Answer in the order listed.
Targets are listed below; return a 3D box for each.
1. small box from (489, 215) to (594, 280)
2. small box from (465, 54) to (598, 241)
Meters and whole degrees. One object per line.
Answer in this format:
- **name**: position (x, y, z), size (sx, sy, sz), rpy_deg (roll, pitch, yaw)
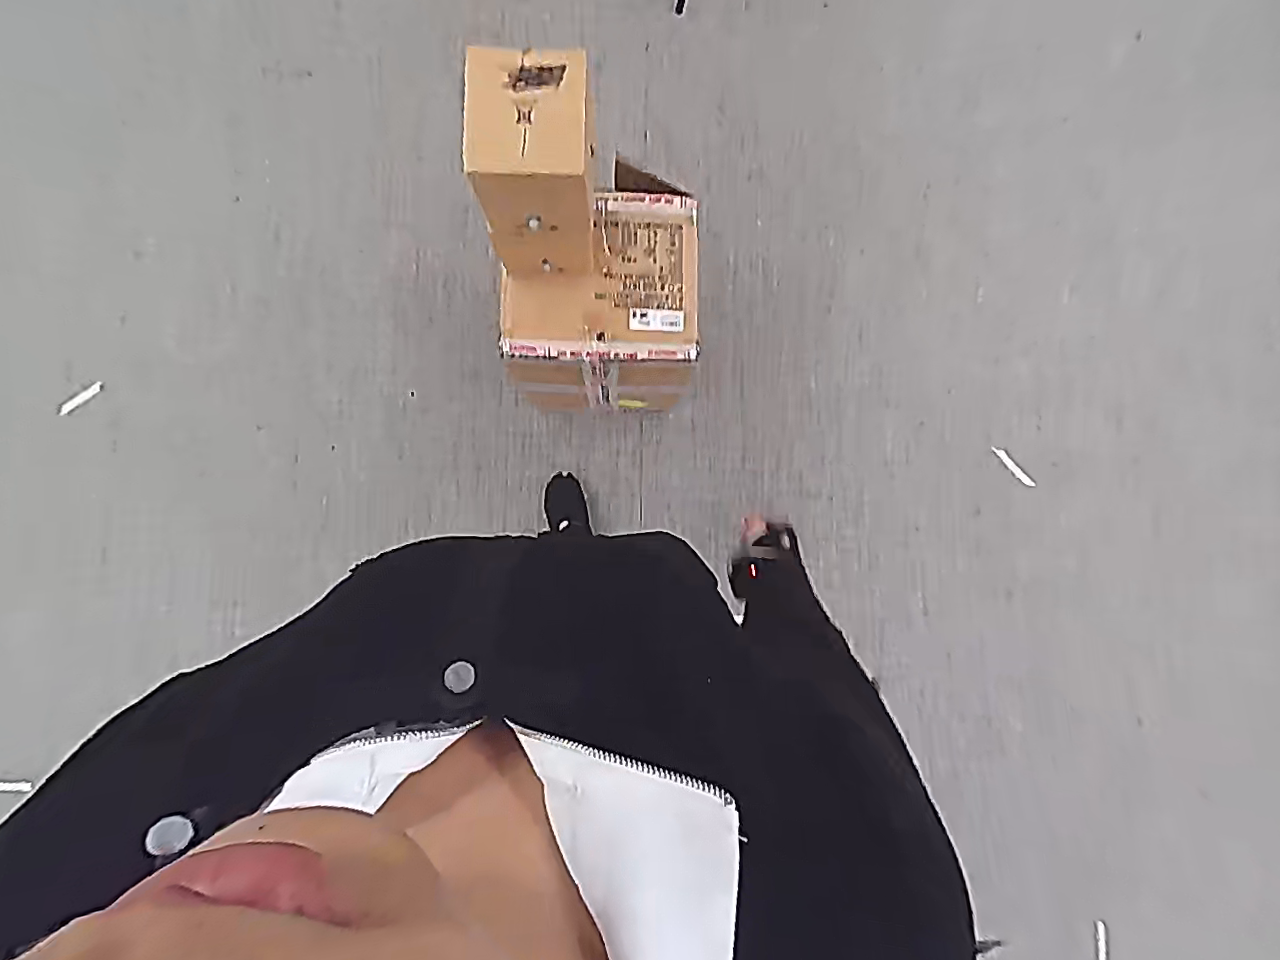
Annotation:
- **small box**: position (-0.171, -0.481, 0.974), size (0.168, 0.176, 0.179), rpy_deg (-2, 88, -1)
- **small box**: position (-0.153, -0.485, 0.810), size (0.168, 0.176, 0.179), rpy_deg (1, 88, 0)
